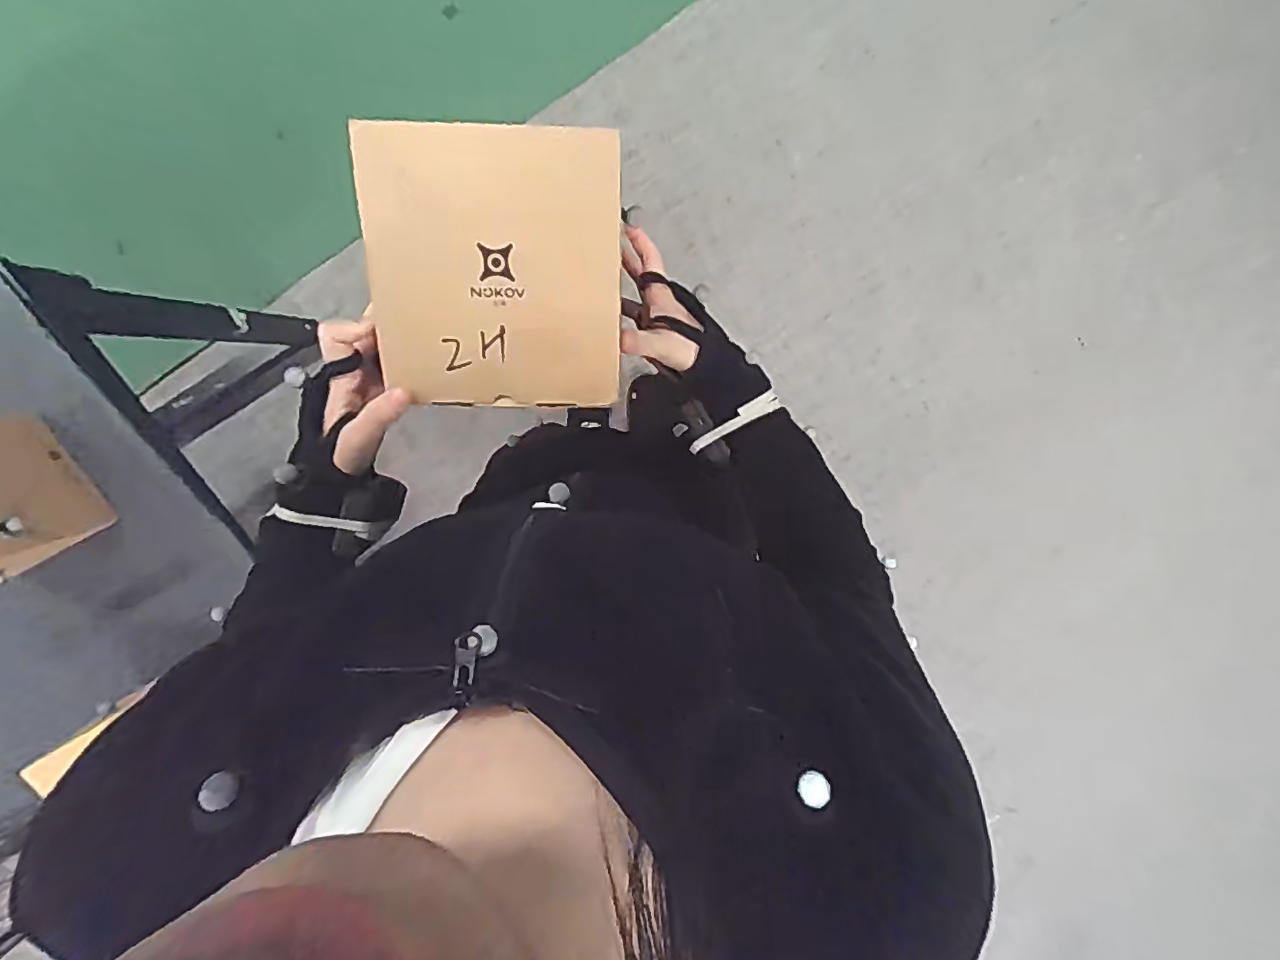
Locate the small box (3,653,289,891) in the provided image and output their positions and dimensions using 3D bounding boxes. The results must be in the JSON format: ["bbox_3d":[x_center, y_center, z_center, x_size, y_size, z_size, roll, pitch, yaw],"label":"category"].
[{"bbox_3d":[-0.614,0.363,0.701,0.179,0.176,0.168,-31,101,2],"label":"small box"}]

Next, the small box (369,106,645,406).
[{"bbox_3d":[-0.086,-0.160,0.423,0.168,0.176,0.179,1,109,-3],"label":"small box"}]
